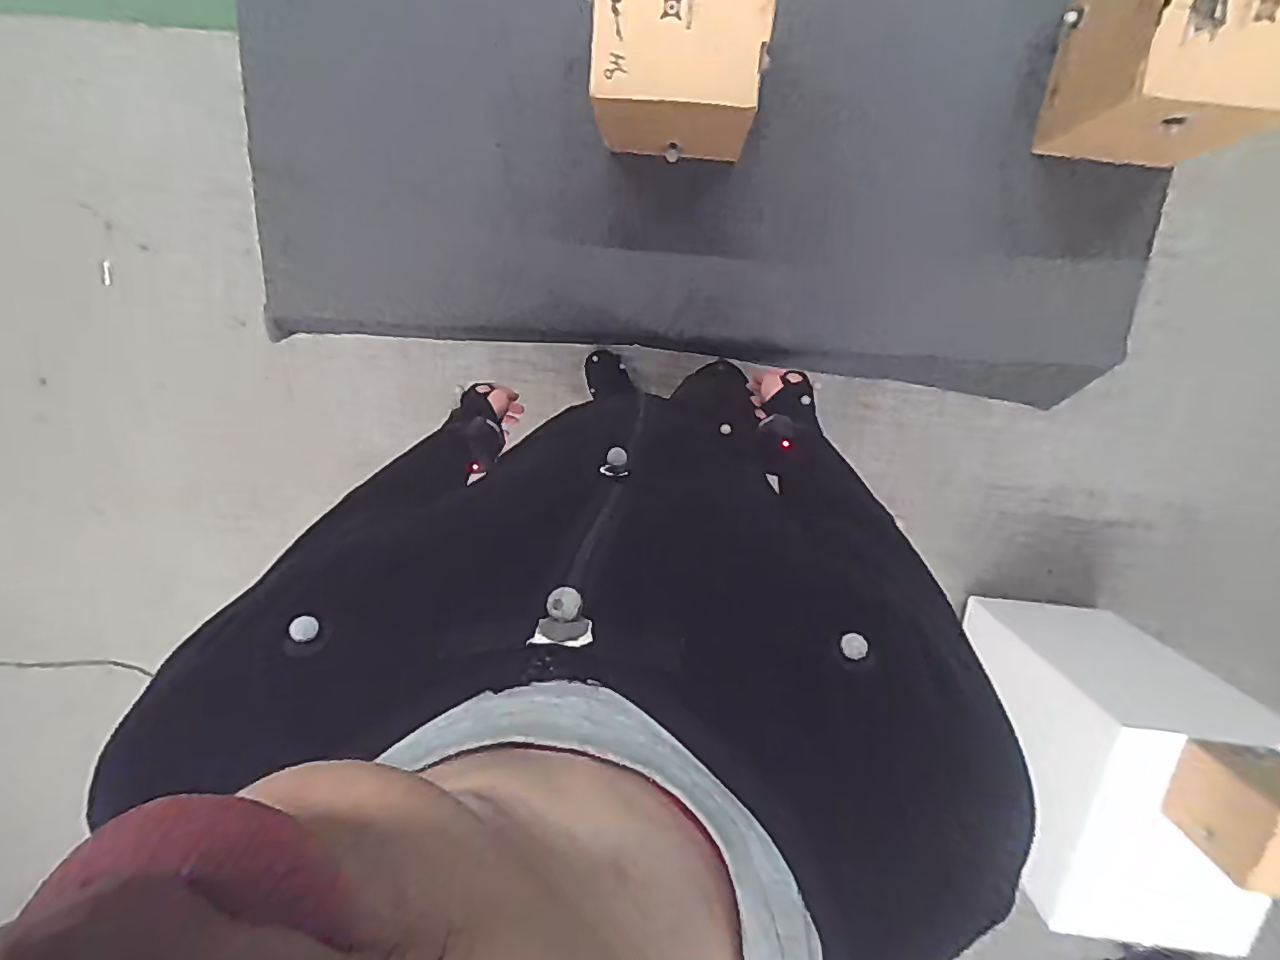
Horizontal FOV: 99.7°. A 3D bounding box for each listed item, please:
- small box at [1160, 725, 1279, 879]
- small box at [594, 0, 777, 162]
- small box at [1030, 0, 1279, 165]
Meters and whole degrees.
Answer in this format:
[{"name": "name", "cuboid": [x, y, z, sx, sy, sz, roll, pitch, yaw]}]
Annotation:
[{"name": "small box", "cuboid": [1.105, 0.576, 0.974, 0.168, 0.176, 0.179, 3, 103, -1]}, {"name": "small box", "cuboid": [0.045, -0.476, 0.604, 0.179, 0.176, 0.168, 4, 103, -1]}, {"name": "small box", "cuboid": [0.584, -0.469, 0.597, 0.179, 0.176, 0.168, 6, 104, -1]}]
